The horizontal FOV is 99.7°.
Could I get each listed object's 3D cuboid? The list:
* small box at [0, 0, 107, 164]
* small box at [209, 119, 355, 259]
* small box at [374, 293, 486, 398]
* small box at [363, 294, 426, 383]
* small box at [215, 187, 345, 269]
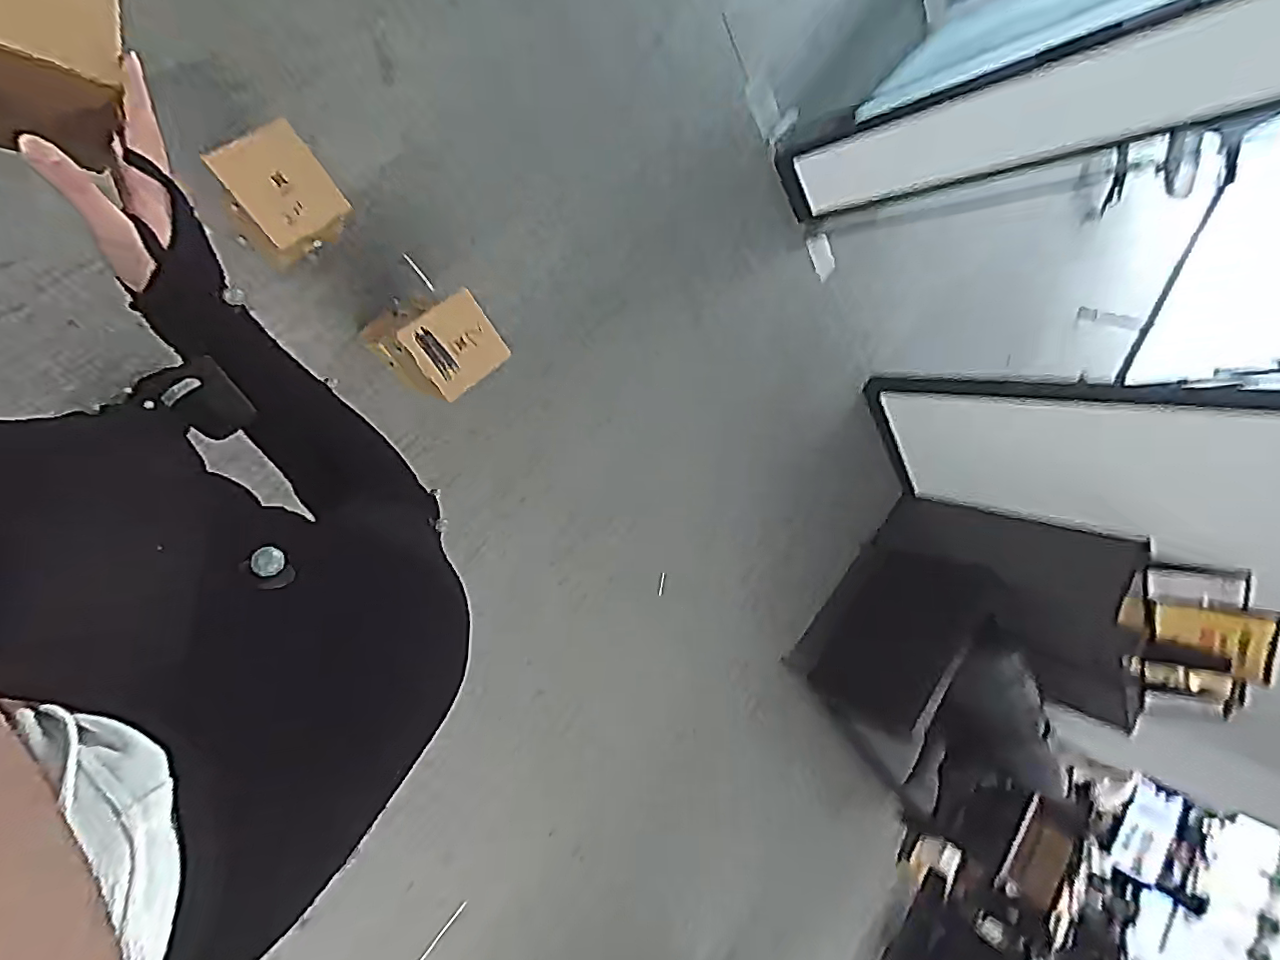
[{"bbox_3d":[-0.491,-0.351,0.366,0.179,0.176,0.168,-4,93,-48],"label":"small box"},{"bbox_3d":[-0.711,-0.568,1.078,0.168,0.176,0.179,-44,123,-20],"label":"small box"},{"bbox_3d":[-0.506,-0.317,1.288,0.179,0.176,0.168,-50,124,-16],"label":"small box"},{"bbox_3d":[-0.593,-0.361,1.418,0.168,0.176,0.179,-47,124,-18],"label":"small box"},{"bbox_3d":[-0.804,-0.592,1.213,0.168,0.176,0.179,-46,124,-19],"label":"small box"}]
